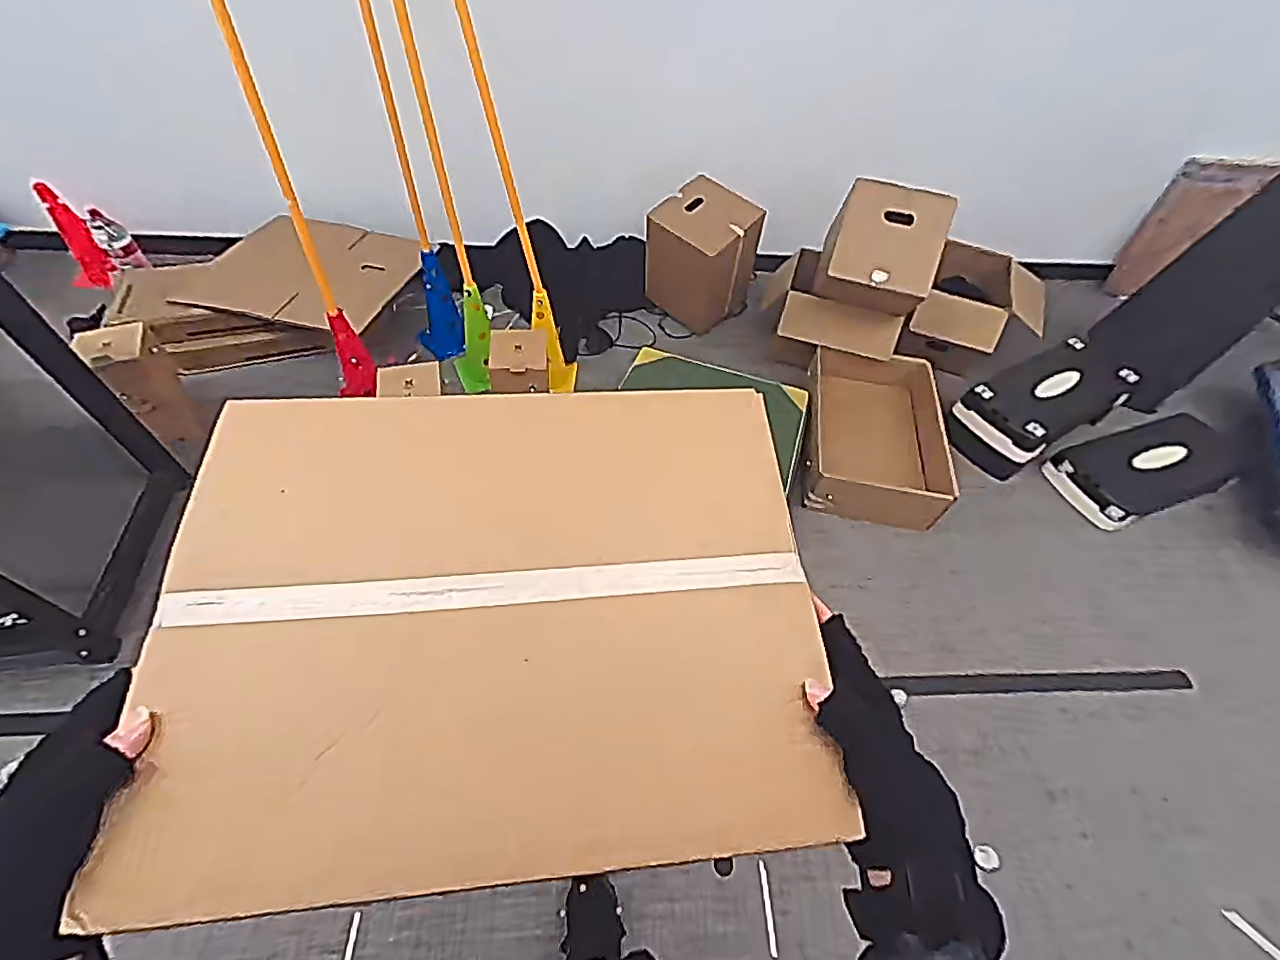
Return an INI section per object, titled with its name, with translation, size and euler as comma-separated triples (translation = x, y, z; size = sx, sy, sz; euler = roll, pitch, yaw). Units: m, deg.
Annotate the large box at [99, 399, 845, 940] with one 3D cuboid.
[large box]
translation = -0.100, 0.148, 0.489
size = 0.408, 0.320, 0.320
euler = -3, 62, -6
